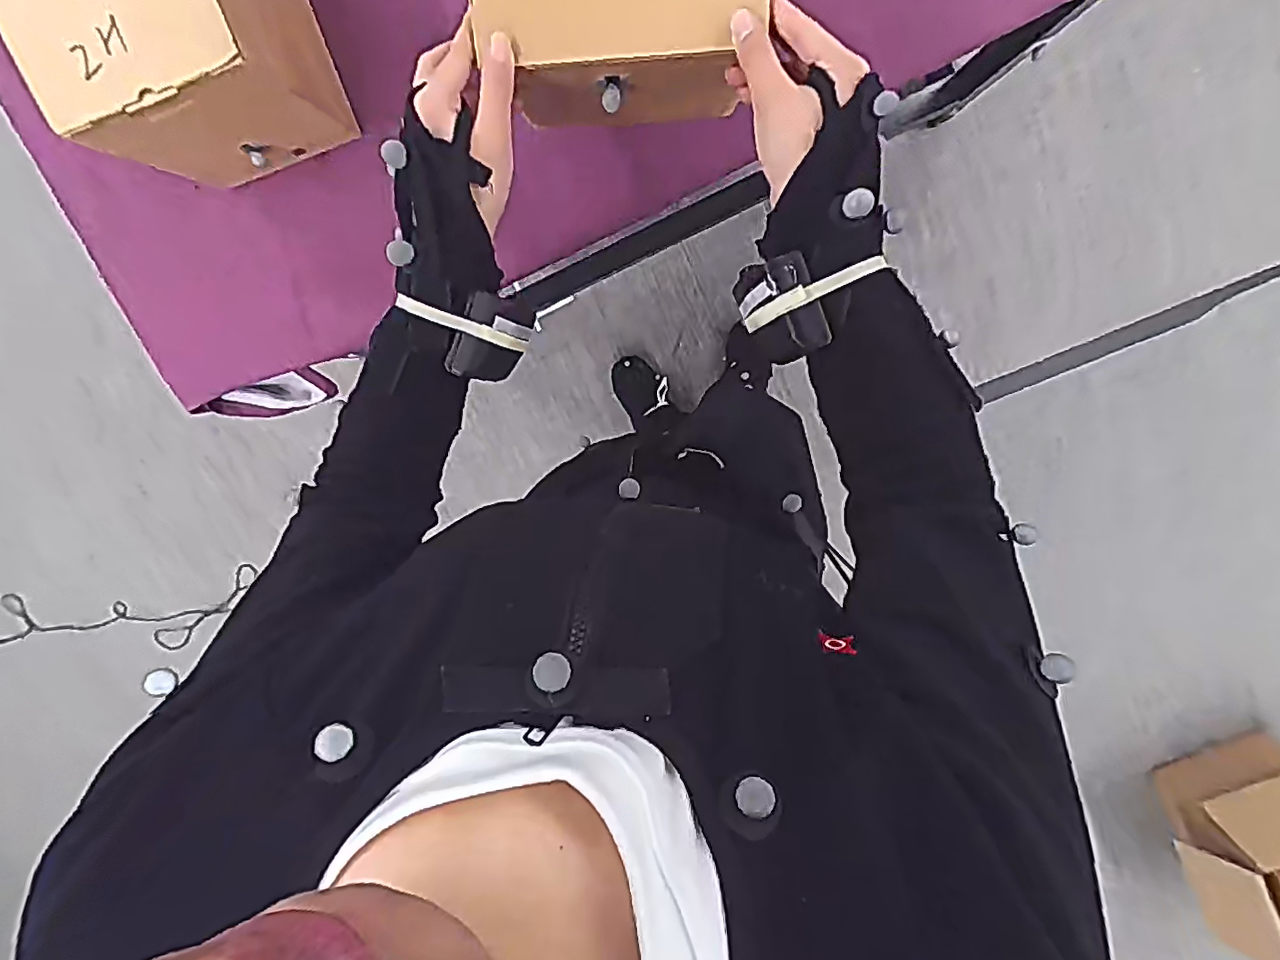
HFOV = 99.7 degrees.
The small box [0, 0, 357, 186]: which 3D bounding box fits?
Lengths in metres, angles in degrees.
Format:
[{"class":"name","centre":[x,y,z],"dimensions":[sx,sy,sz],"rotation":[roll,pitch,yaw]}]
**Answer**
[{"class":"small box","centre":[-0.387,-0.388,0.463],"dimensions":[0.168,0.176,0.179],"rotation":[-17,104,7]}]
